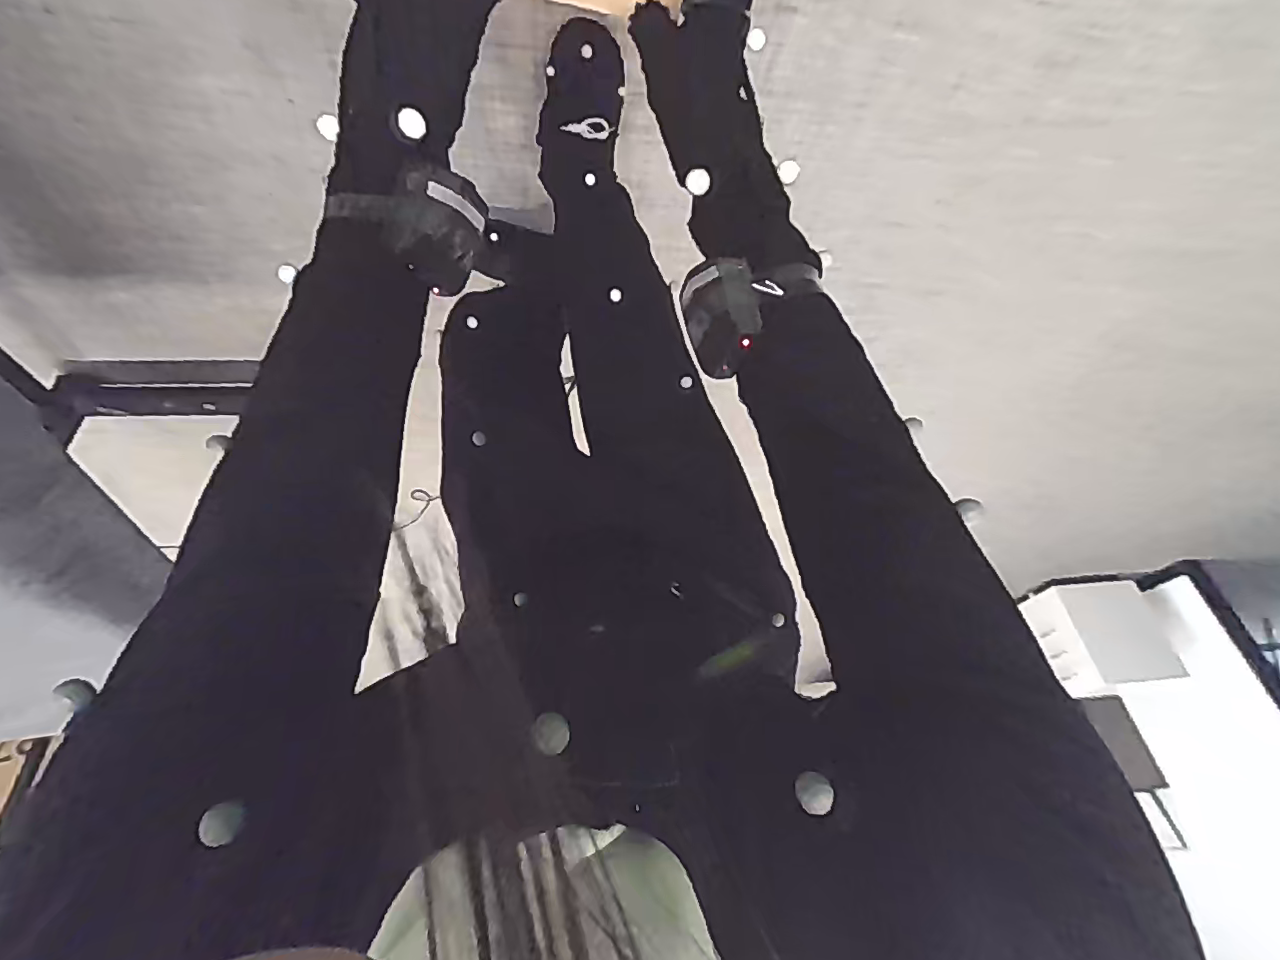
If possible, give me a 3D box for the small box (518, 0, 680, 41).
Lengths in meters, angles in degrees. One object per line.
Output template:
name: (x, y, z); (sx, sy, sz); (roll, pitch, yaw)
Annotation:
small box: (-0.052, -0.421, 0.337); (0.179, 0.176, 0.168); (2, 145, -16)
